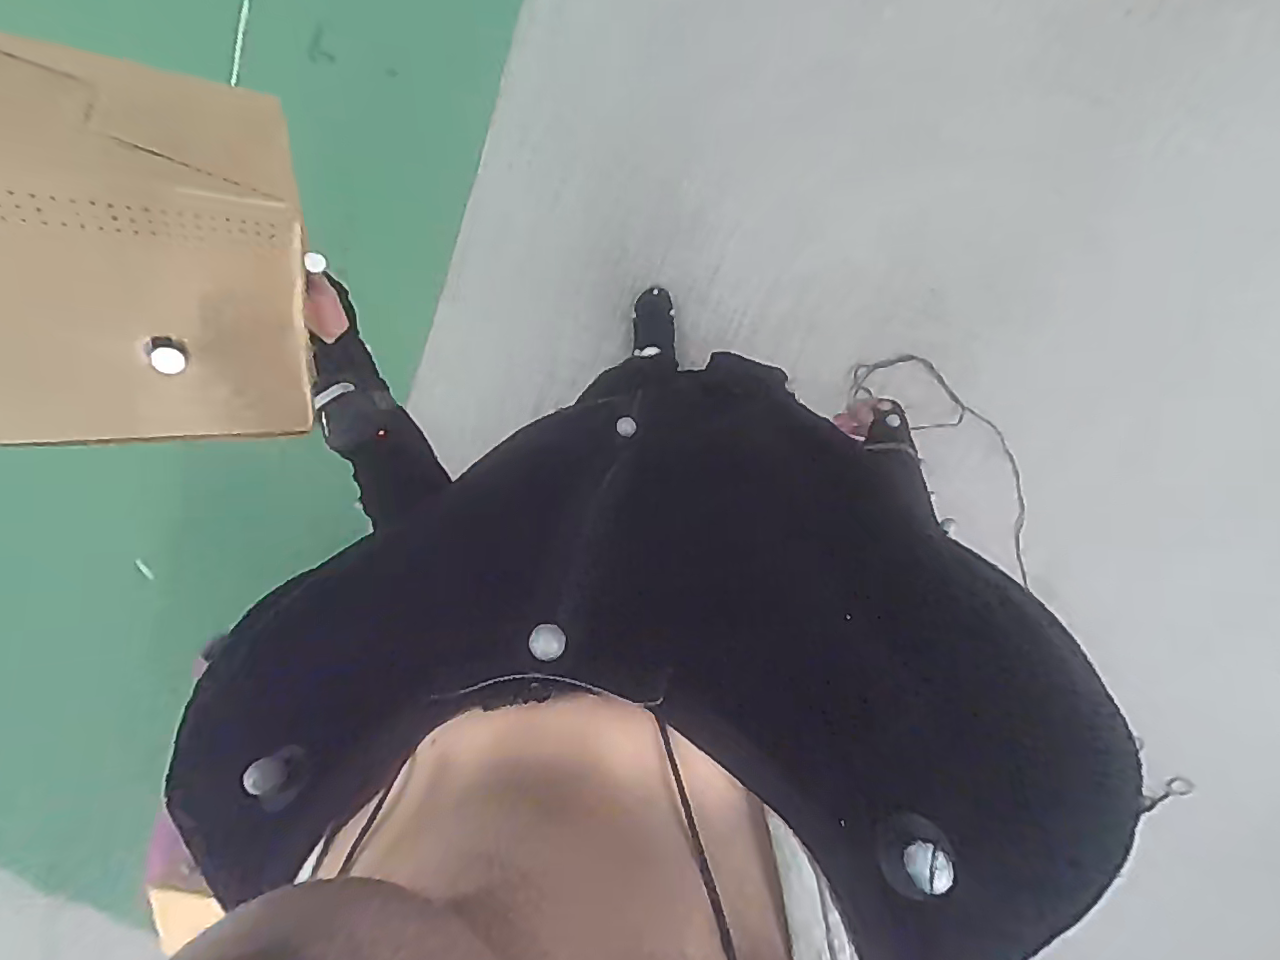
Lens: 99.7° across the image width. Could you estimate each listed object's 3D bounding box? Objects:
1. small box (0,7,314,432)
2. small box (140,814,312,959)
[{"bbox_3d":[-0.311,-0.150,0.323,0.179,0.168,0.176,-8,141,-33],"label":"small box"},{"bbox_3d":[-0.710,0.728,0.953,0.179,0.176,0.168,6,106,4],"label":"small box"}]
